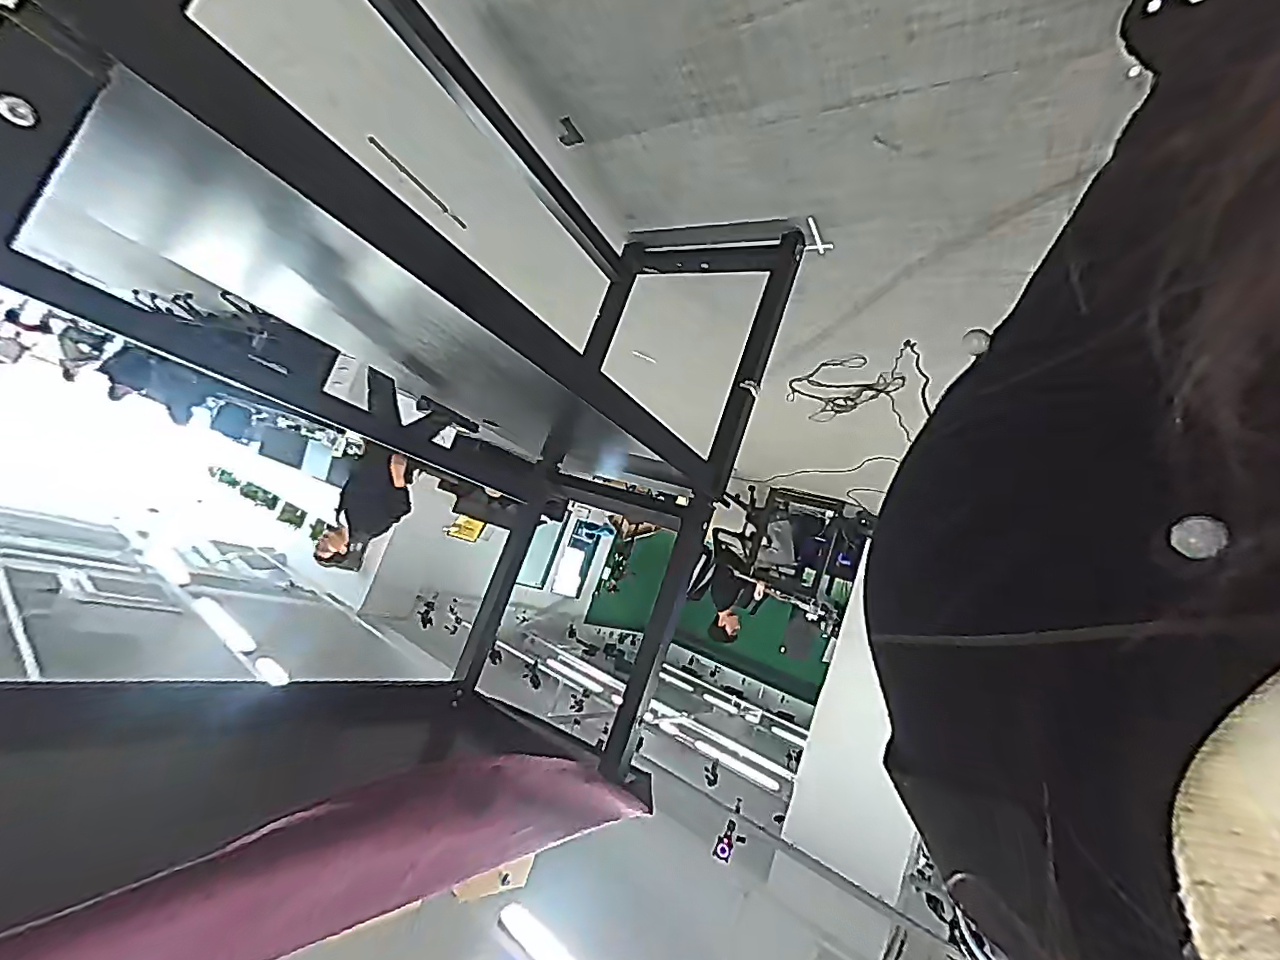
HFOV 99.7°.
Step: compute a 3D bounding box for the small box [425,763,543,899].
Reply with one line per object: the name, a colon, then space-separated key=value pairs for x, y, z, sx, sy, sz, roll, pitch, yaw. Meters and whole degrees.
small box: x=-0.330 y=0.714 z=1.127 sx=0.179 sy=0.176 sz=0.168 roll=13 pitch=169 yaw=43
